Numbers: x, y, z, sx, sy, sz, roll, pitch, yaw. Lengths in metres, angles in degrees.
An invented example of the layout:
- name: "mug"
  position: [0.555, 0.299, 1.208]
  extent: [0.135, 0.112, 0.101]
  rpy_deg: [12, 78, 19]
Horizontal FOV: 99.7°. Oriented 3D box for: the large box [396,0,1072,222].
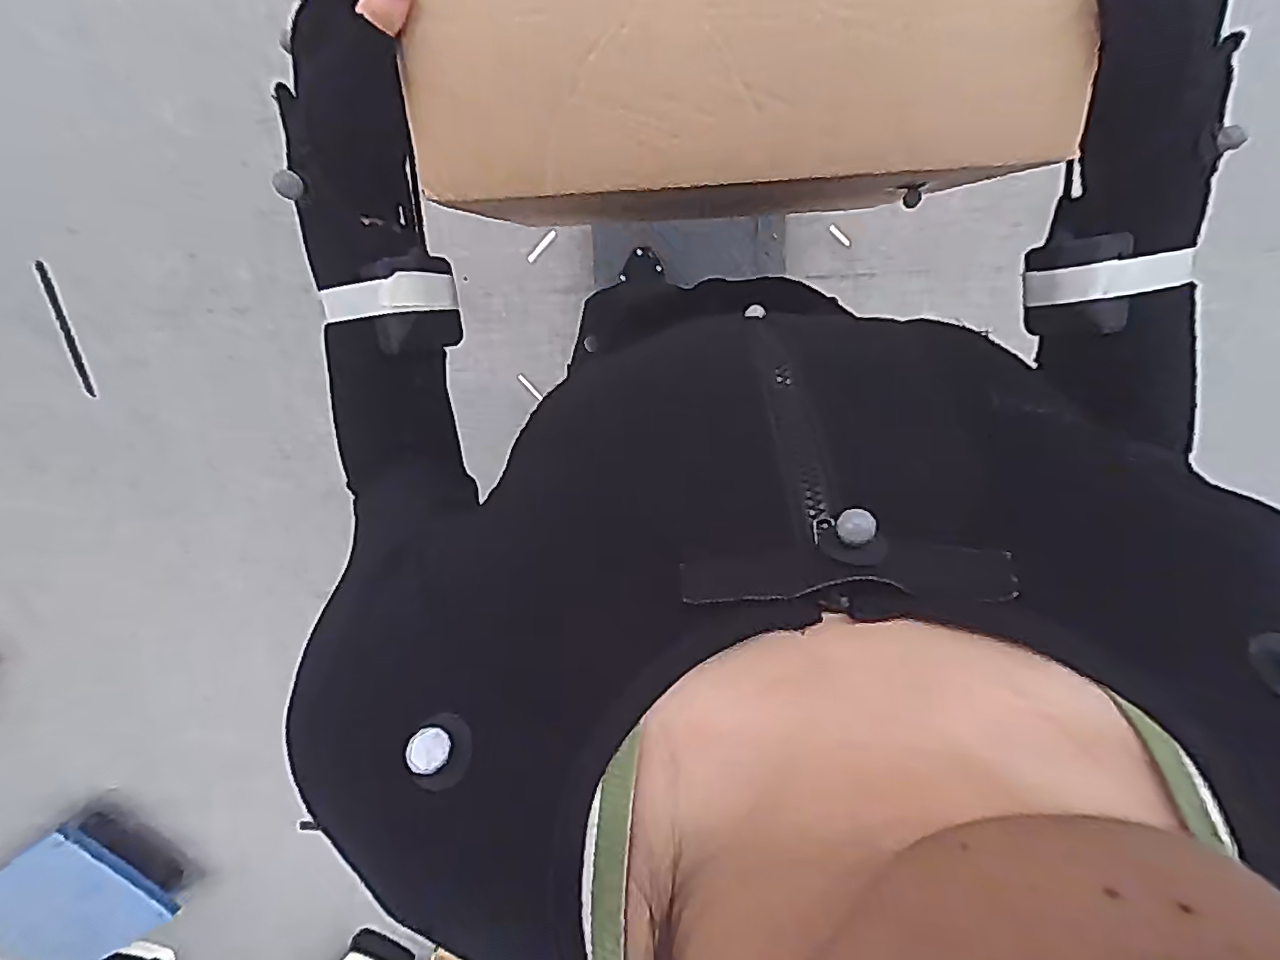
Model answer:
- name: "large box"
  position: [0.054, -0.395, 0.432]
  extent: [0.408, 0.320, 0.320]
  rpy_deg: [-3, 112, 2]
